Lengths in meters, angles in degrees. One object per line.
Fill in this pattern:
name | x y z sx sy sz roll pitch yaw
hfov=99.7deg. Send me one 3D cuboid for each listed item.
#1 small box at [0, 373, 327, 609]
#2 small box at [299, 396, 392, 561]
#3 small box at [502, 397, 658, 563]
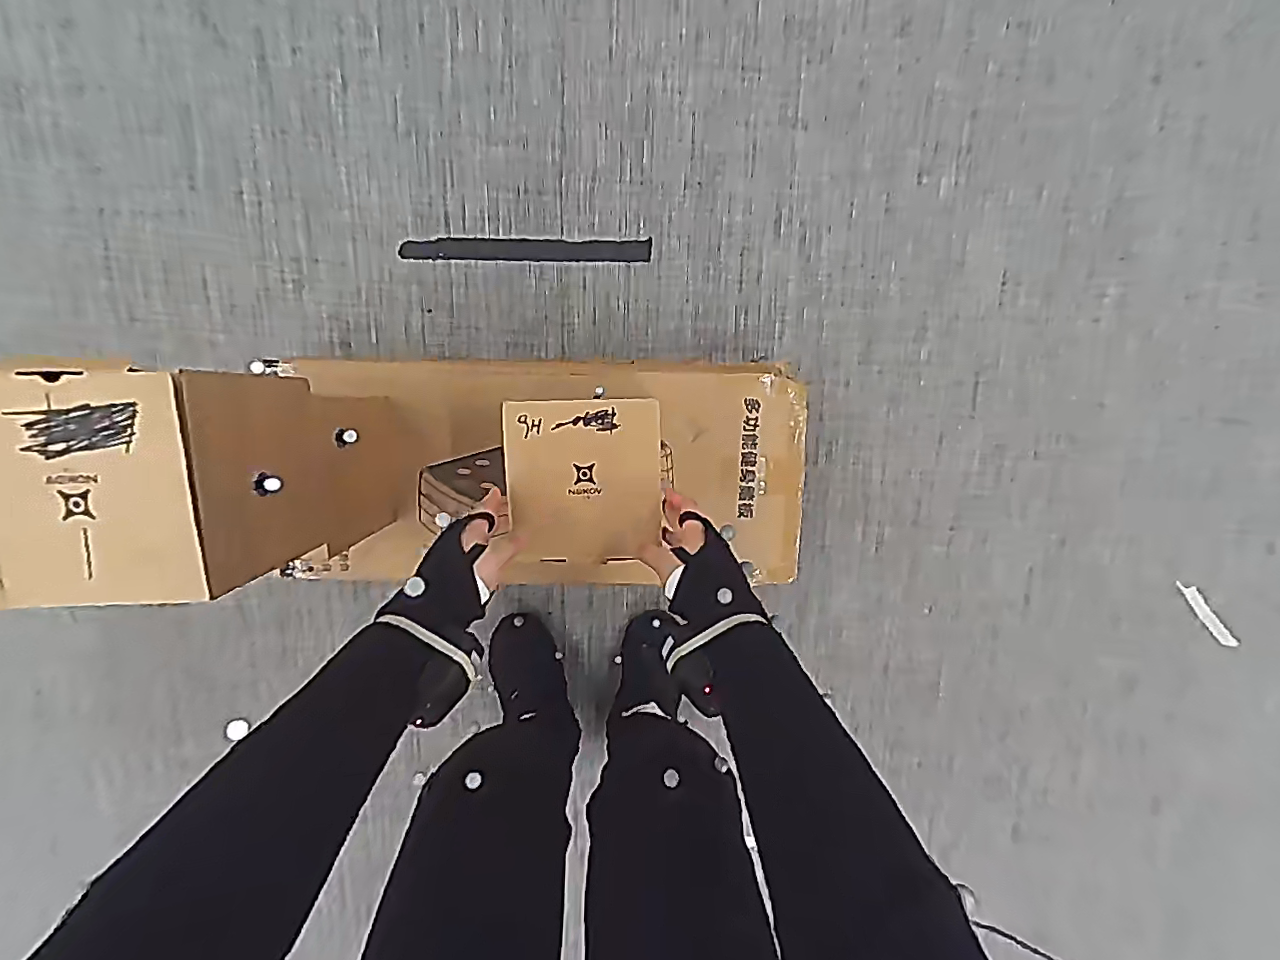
small box | -0.408 -0.001 0.478 0.168 0.176 0.179 -1 99 -2
small box | -0.412 -0.011 0.642 0.168 0.176 0.179 0 99 -2
small box | -0.062 -0.009 0.656 0.168 0.176 0.179 0 100 0
